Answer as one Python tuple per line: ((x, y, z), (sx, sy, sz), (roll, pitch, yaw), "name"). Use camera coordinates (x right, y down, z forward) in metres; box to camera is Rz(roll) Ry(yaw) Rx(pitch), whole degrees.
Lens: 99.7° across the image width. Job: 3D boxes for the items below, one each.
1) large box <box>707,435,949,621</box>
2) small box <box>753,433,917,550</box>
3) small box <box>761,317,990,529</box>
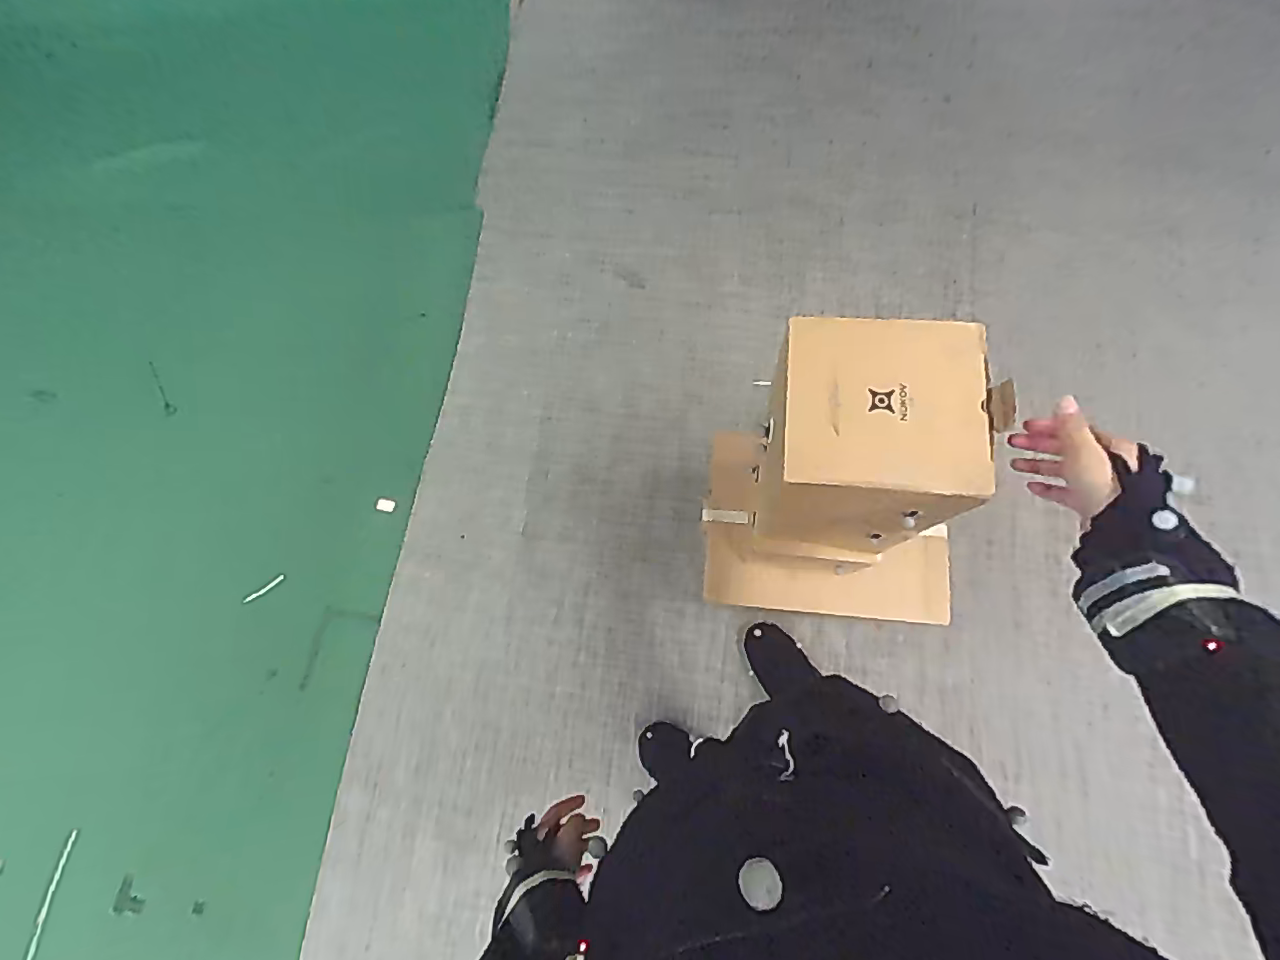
((0.341, 0.111, 1.094), (0.408, 0.320, 0.320), (4, 77, 8), "large box")
((0.249, -0.008, 0.714), (0.179, 0.176, 0.168), (8, 76, 9), "small box")
((0.225, -0.048, 0.558), (0.179, 0.176, 0.168), (4, 74, 9), "small box")
